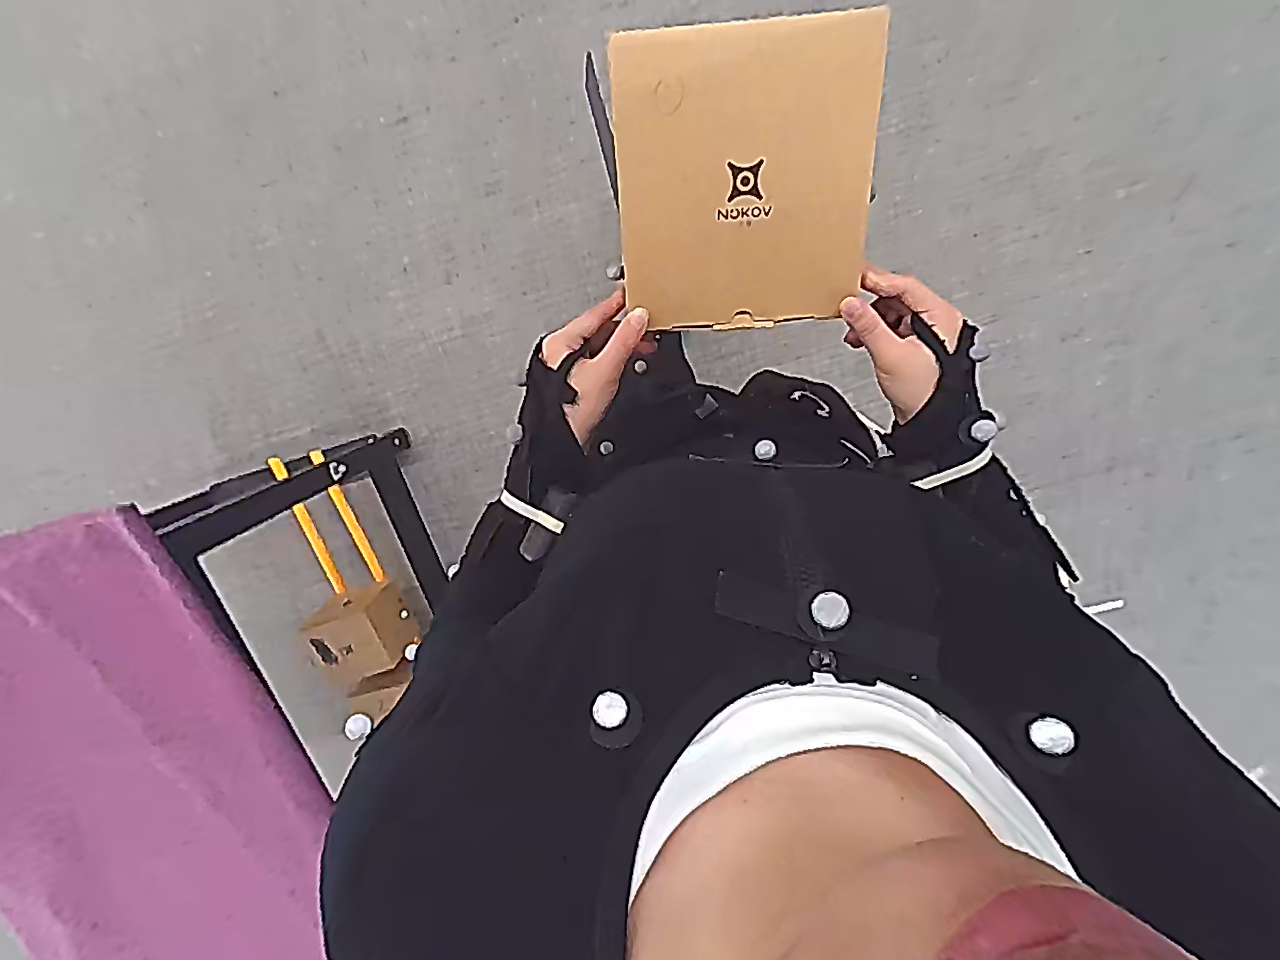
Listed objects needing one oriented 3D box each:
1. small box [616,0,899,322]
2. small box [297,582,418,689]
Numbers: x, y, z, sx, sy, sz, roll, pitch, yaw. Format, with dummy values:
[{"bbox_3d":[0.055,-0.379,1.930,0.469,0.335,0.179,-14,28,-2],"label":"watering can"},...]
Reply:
[{"bbox_3d":[0.069,-0.228,0.412,0.168,0.176,0.179,-4,117,2],"label":"small box"},{"bbox_3d":[-0.682,0.376,1.327,0.179,0.176,0.168,-18,106,4],"label":"small box"}]
